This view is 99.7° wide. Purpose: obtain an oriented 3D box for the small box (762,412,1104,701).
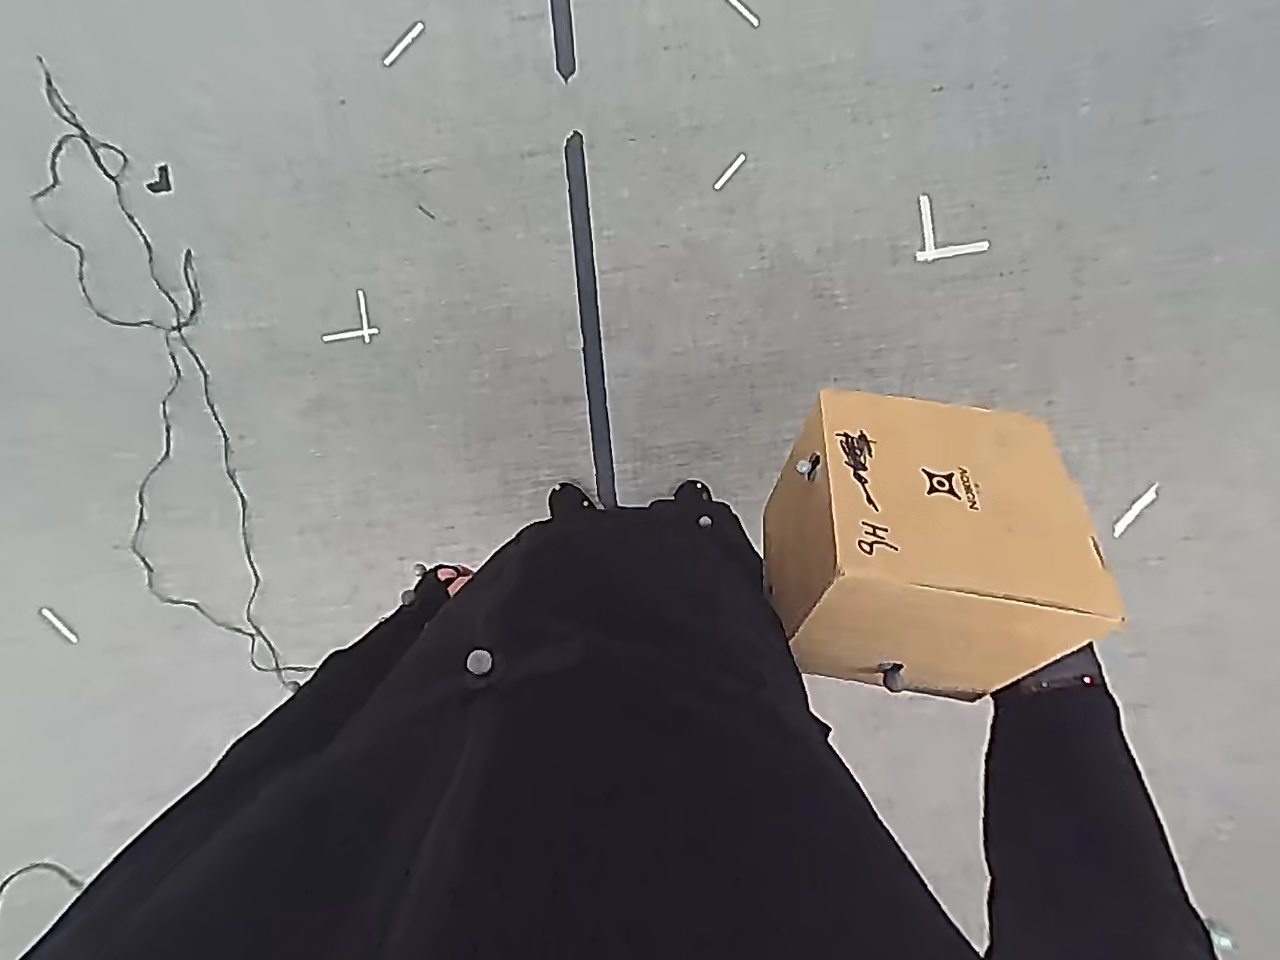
[{"bbox_3d":[0.211,0.071,0.450,0.179,0.176,0.168,9,51,1],"label":"small box"}]
